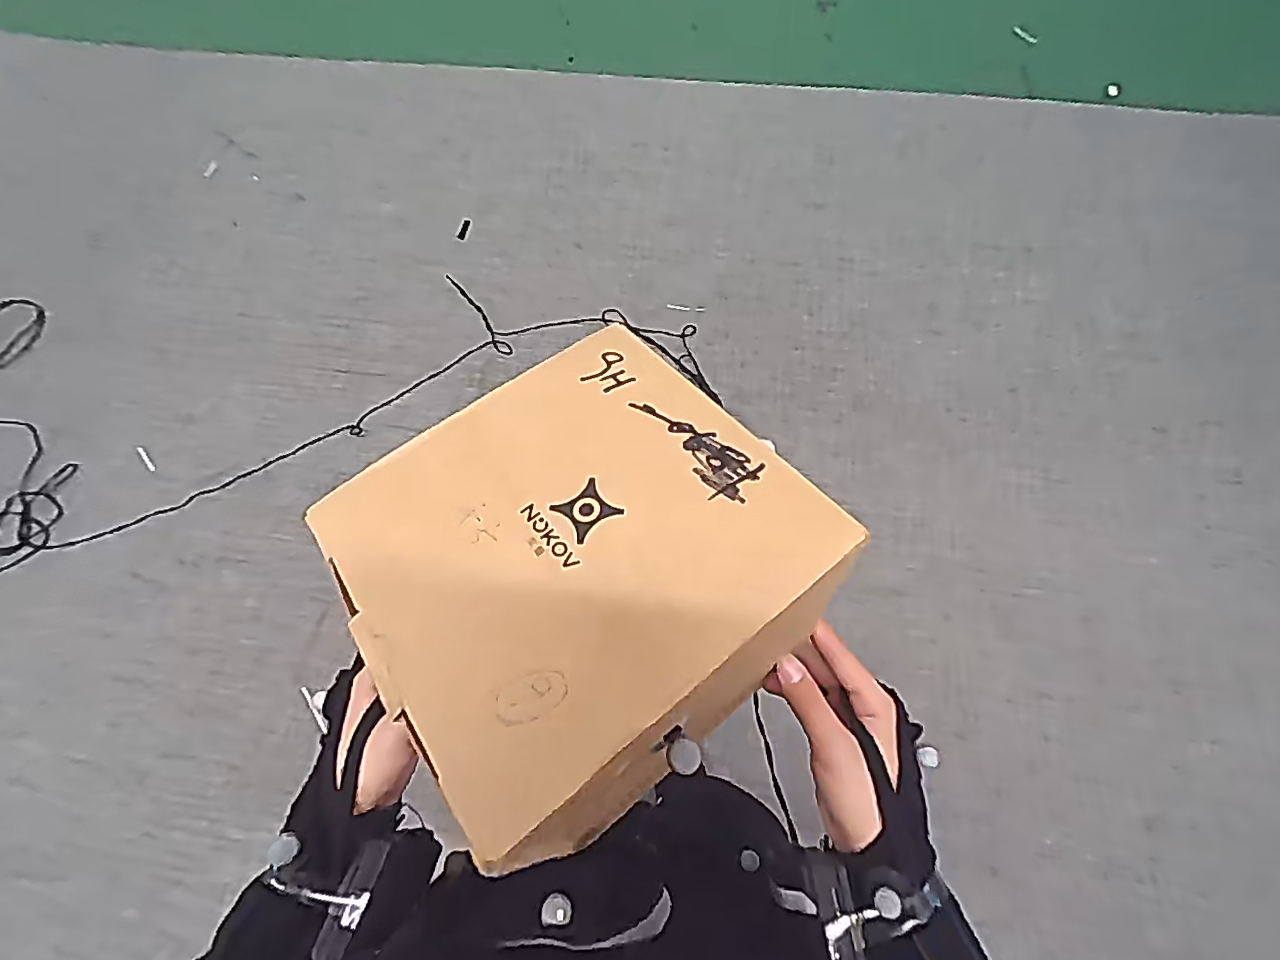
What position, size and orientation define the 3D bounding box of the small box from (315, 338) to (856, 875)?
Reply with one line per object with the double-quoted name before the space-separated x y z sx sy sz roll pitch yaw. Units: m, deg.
"small box" -0.021 0.067 0.290 0.179 0.176 0.168 -36 60 -15
